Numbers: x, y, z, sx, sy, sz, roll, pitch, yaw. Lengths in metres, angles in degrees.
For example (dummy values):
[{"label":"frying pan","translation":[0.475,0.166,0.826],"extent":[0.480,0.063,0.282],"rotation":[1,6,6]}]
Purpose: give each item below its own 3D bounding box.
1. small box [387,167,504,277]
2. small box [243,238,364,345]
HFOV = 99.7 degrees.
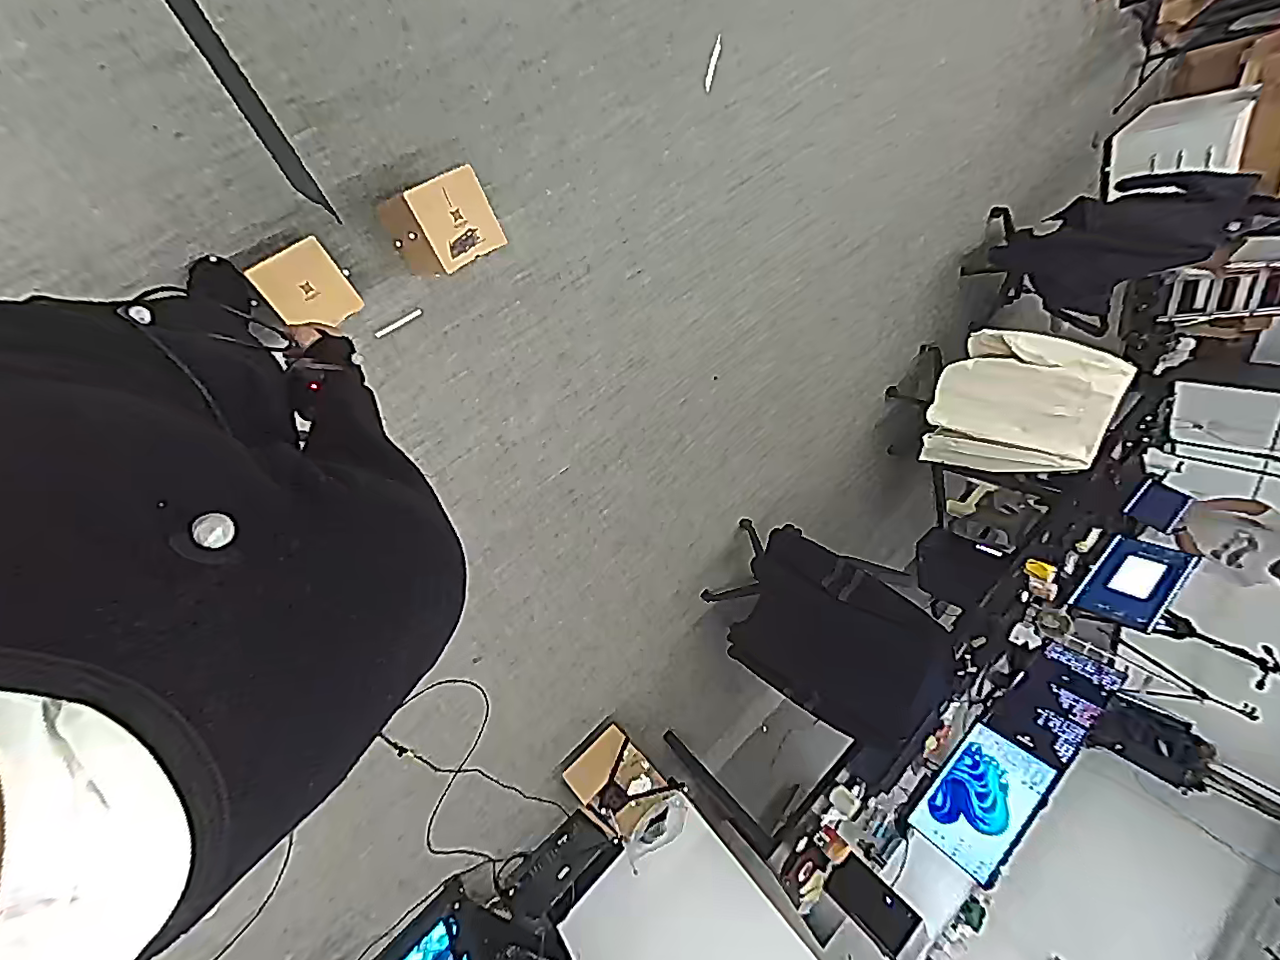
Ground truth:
[{"label":"small box","translation":[-0.447,-0.585,1.239],"extent":[0.168,0.176,0.179],"rotation":[-38,124,-19]},{"label":"small box","translation":[-0.786,-0.437,1.263],"extent":[0.168,0.176,0.179],"rotation":[-41,126,-17]}]
